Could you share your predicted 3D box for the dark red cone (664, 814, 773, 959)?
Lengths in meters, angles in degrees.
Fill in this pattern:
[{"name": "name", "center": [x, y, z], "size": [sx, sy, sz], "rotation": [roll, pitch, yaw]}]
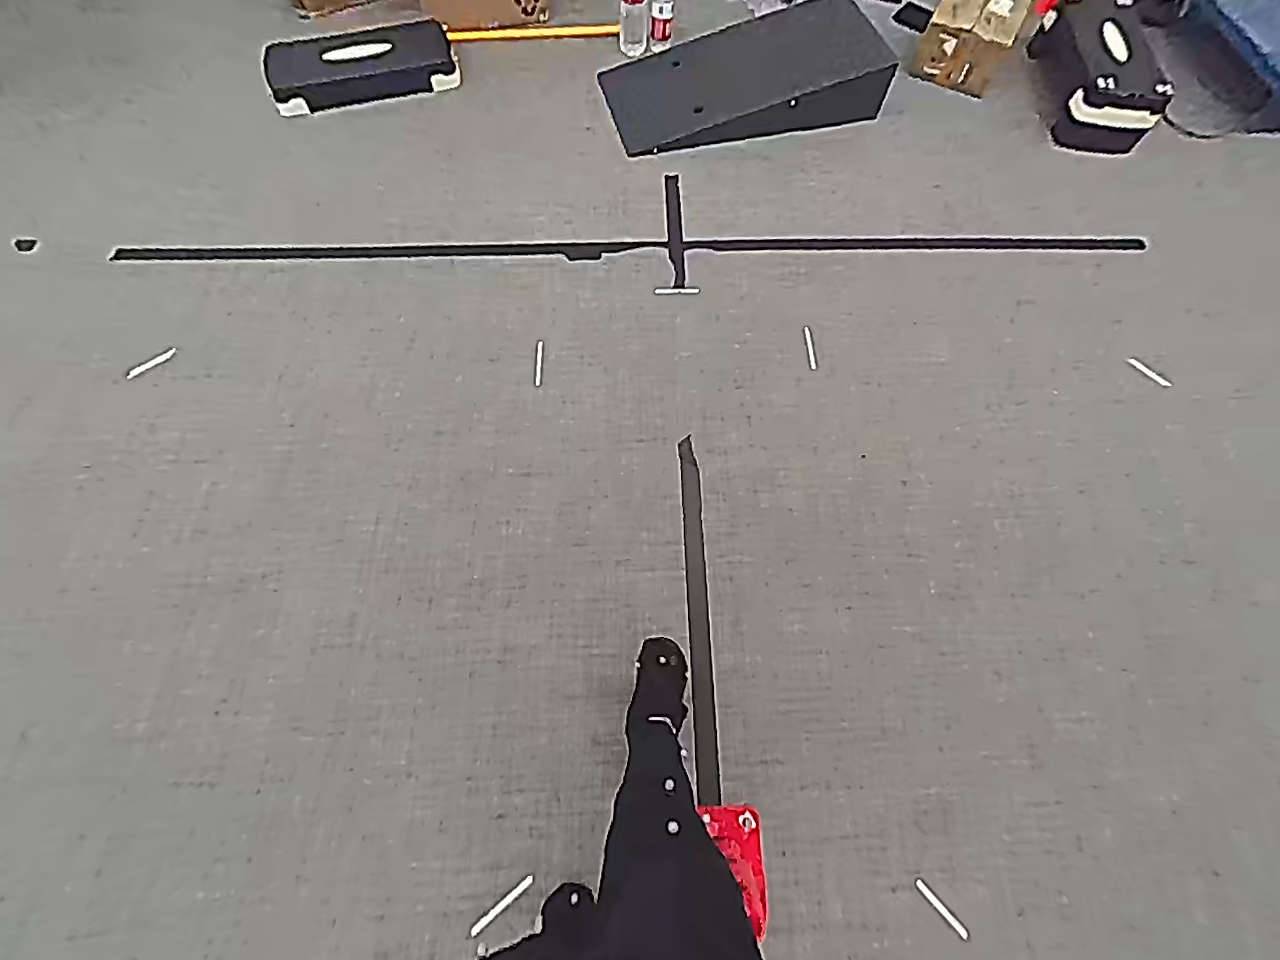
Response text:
[{"name": "dark red cone", "center": [0.150, 0.693, 0.891], "size": [0.201, 0.394, 0.202], "rotation": [-2, 66, -1]}]
